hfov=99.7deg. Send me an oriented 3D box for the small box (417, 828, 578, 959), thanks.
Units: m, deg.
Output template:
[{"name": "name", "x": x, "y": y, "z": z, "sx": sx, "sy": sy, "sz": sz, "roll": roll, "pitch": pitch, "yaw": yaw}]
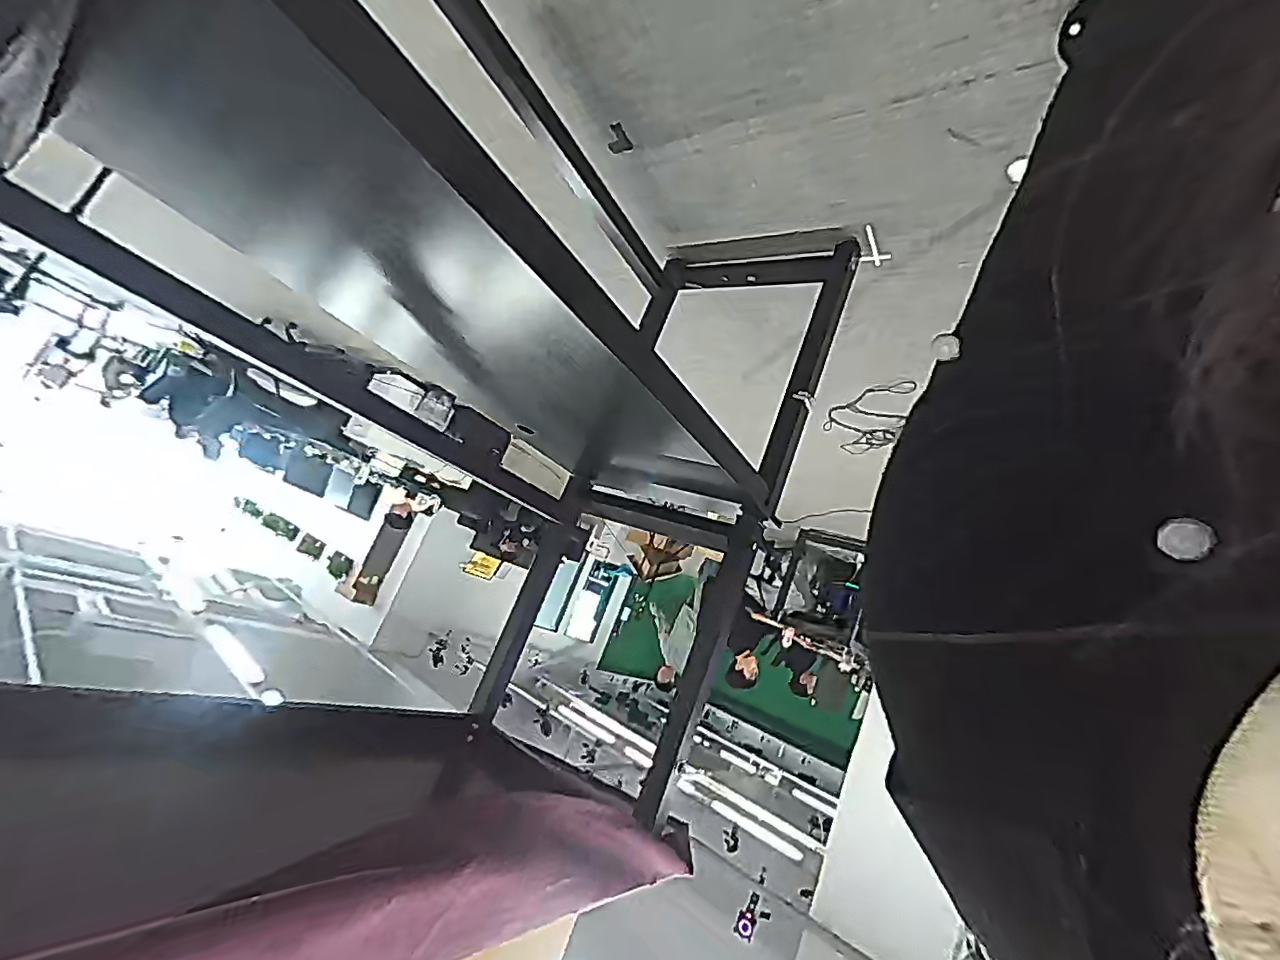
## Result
[{"name": "small box", "x": -0.235, "y": 0.718, "z": 0.912, "sx": 0.179, "sy": 0.176, "sz": 0.168, "roll": 11, "pitch": 163, "yaw": 45}]
